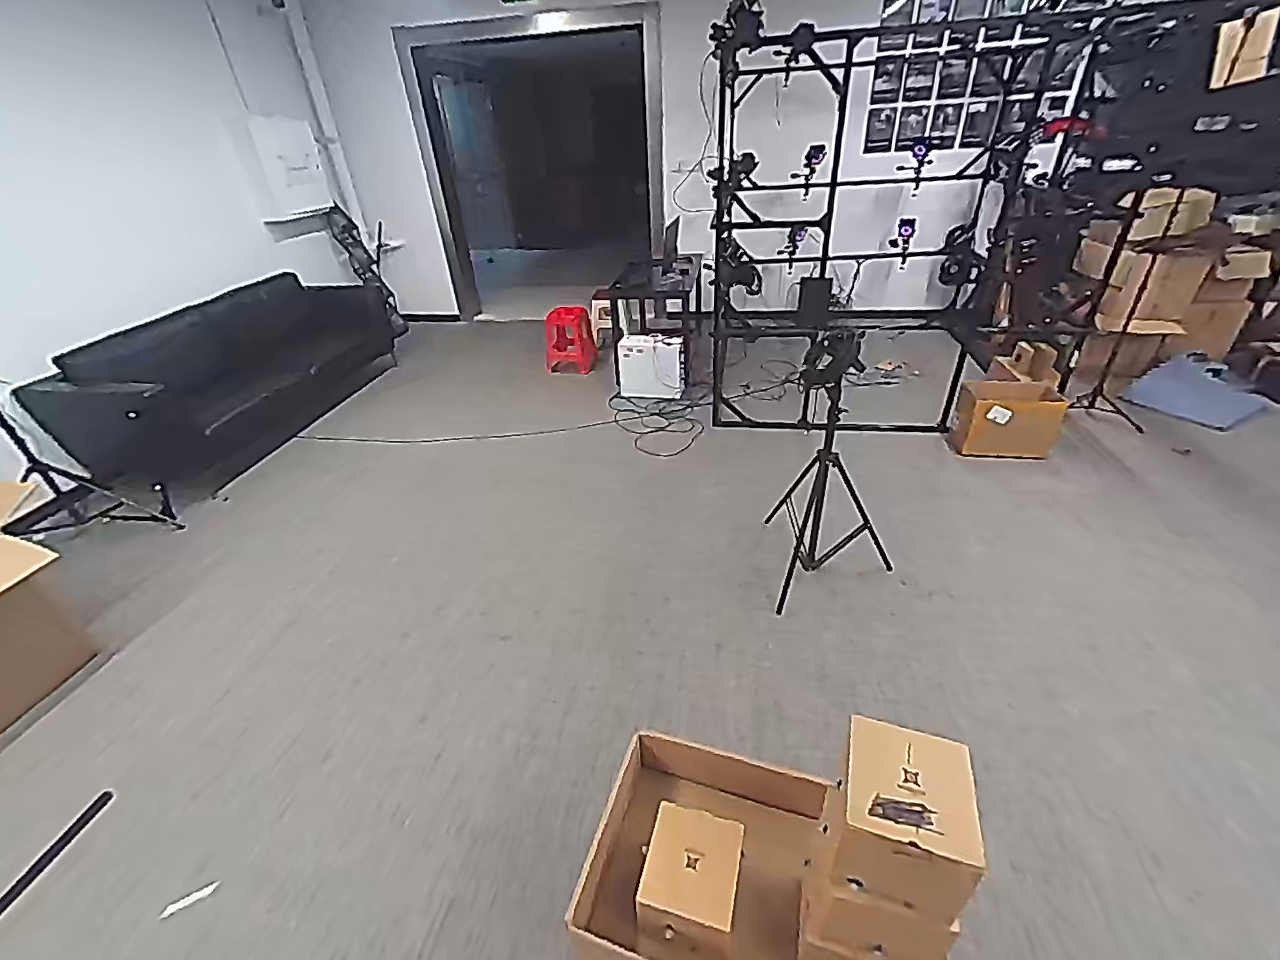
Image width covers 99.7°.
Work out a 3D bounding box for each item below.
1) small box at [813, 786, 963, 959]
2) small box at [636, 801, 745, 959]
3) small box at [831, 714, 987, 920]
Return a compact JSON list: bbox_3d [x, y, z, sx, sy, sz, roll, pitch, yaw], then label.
[{"bbox_3d":[0.382,0.633,0.861,0.179,0.176,0.168,8,34,15],"label":"small box"},{"bbox_3d":[0.100,0.750,1.012,0.168,0.176,0.179,7,33,16],"label":"small box"},{"bbox_3d":[0.378,0.486,0.785,0.168,0.176,0.179,9,34,19],"label":"small box"}]
